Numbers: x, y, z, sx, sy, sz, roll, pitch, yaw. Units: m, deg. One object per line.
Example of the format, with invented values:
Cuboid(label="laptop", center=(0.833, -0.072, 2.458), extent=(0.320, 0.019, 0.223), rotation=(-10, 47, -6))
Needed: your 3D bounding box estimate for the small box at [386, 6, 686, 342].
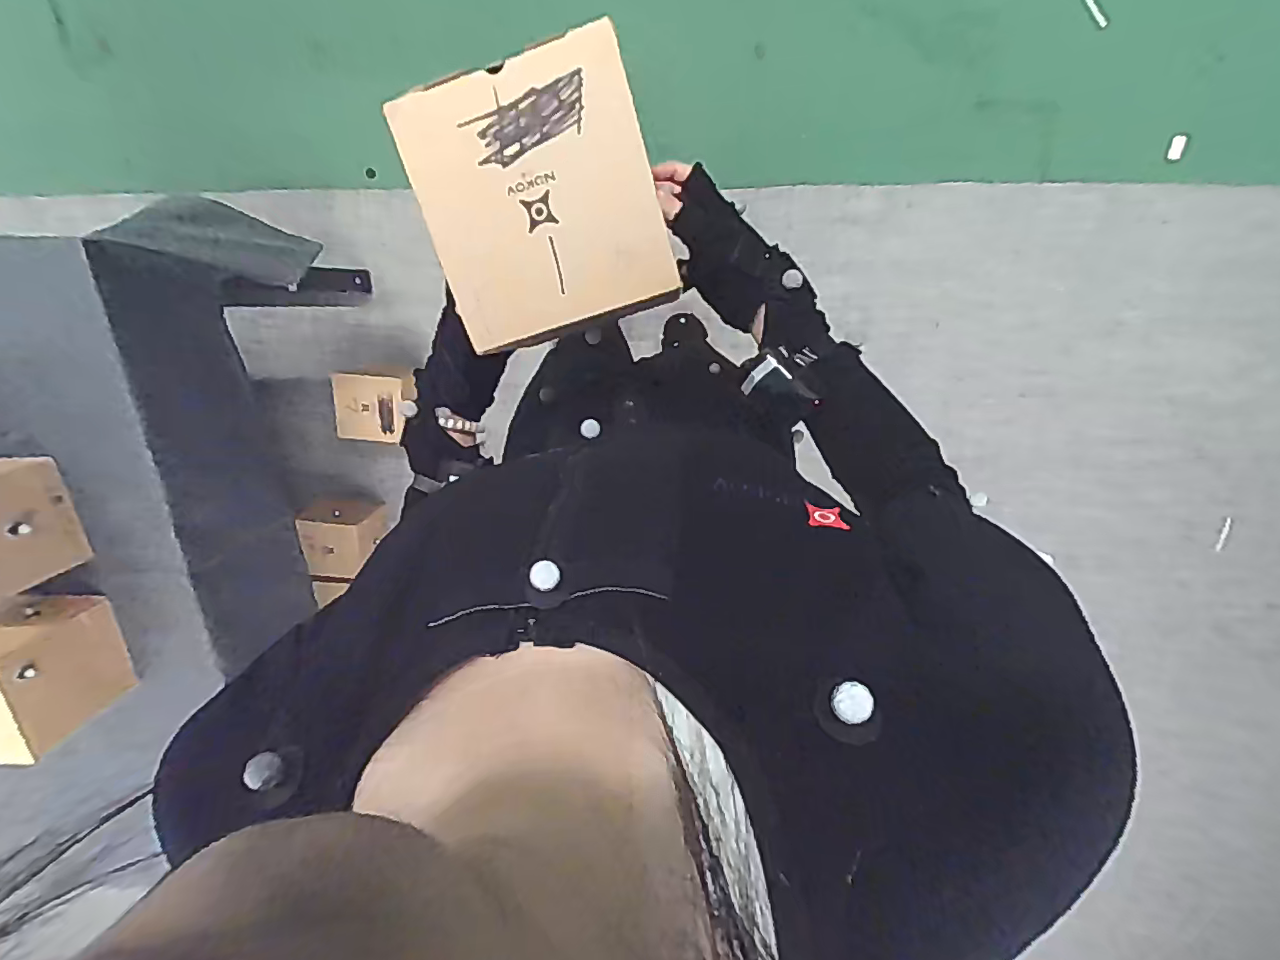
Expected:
Cuboid(label="small box", center=(-0.066, -0.220, 0.446), extent=(0.168, 0.176, 0.179), rotation=(-15, 104, 6))

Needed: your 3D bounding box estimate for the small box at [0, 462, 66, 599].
Cuboid(label="small box", center=(-0.937, 0.077, 0.719), extent=(0.179, 0.176, 0.168), rotation=(-2, 109, 2))
